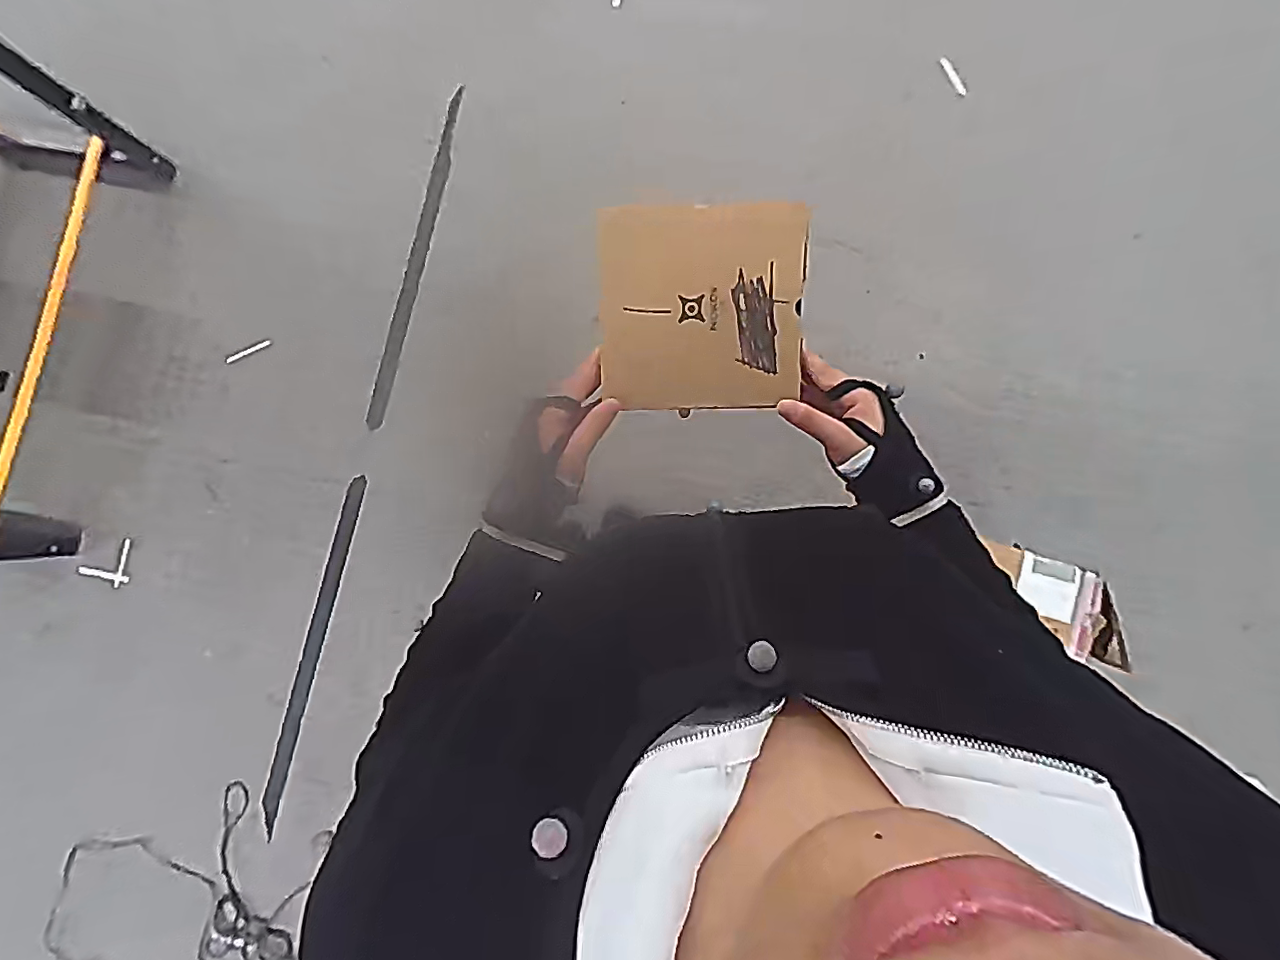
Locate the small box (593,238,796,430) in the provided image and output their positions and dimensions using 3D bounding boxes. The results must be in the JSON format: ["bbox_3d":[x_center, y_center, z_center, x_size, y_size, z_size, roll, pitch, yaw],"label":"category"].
[{"bbox_3d":[0.046,-0.145,0.553,0.179,0.176,0.168,-1,103,0],"label":"small box"}]
